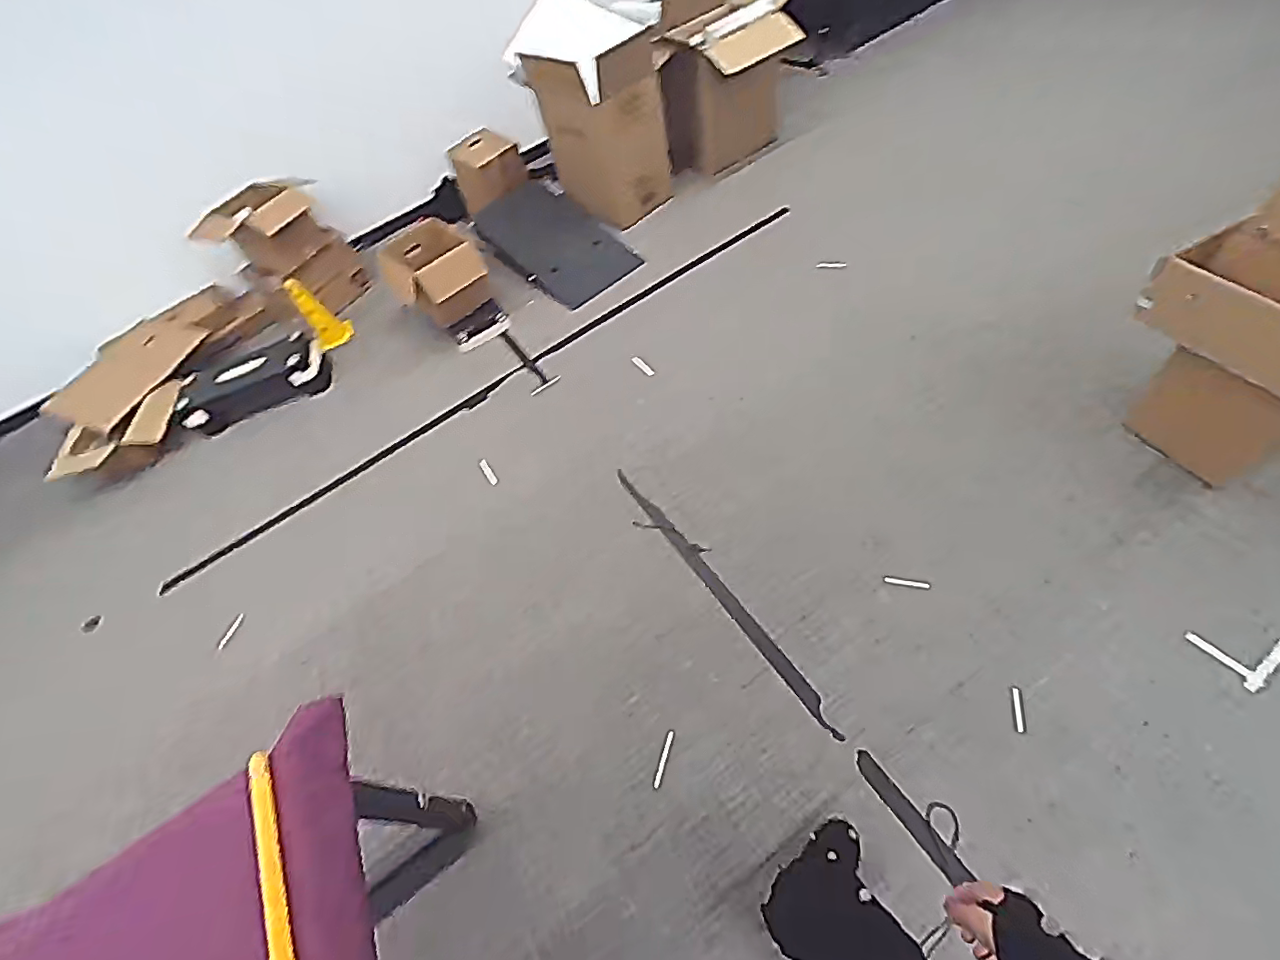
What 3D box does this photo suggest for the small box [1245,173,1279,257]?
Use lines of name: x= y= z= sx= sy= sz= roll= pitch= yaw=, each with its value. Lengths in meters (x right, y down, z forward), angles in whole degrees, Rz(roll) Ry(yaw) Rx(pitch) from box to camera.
small box: x=1.551 y=-0.615 z=1.220 sx=0.179 sy=0.176 sz=0.168 roll=-20 pitch=52 yaw=-2
